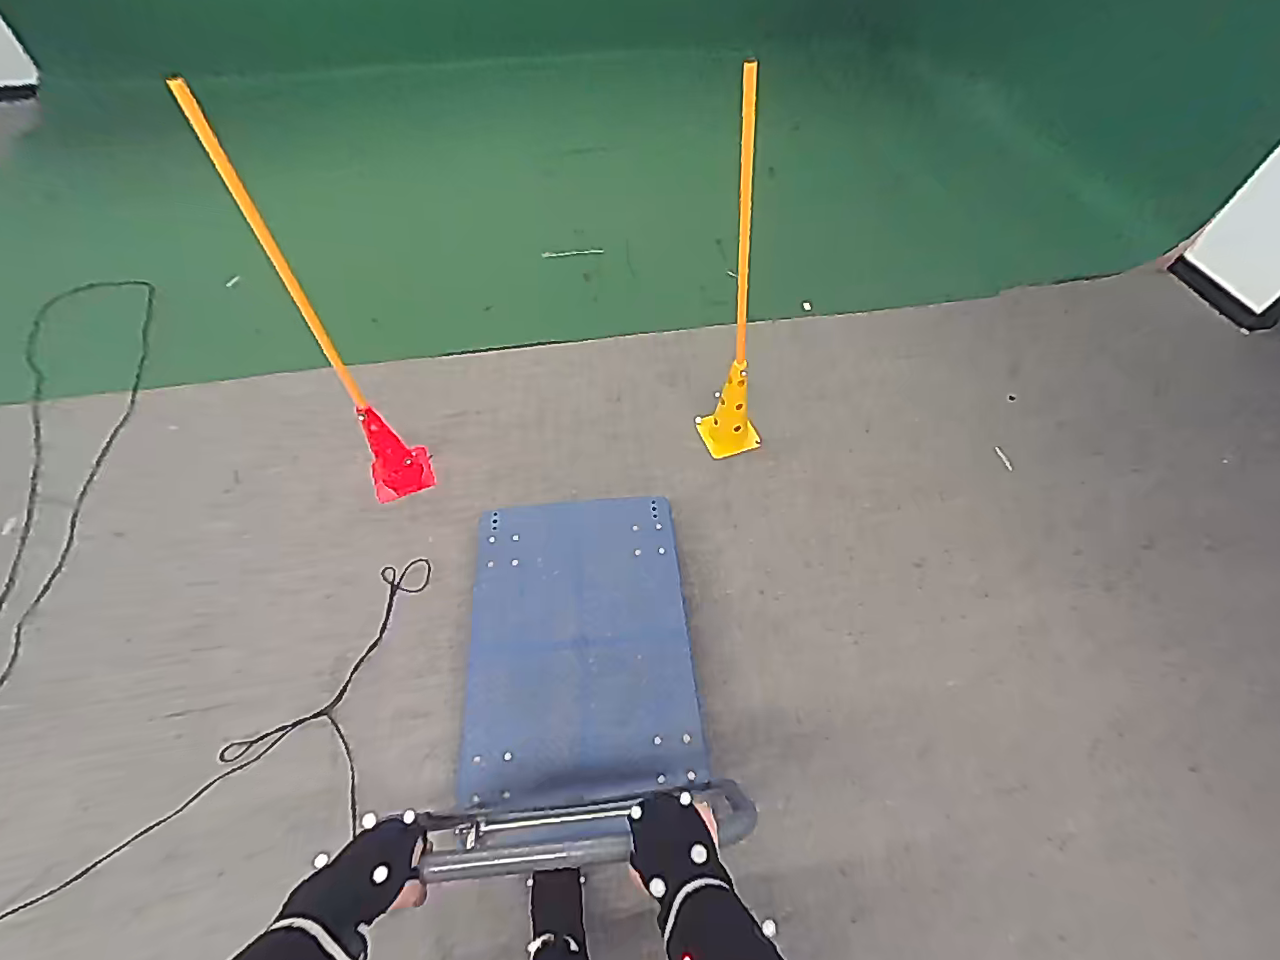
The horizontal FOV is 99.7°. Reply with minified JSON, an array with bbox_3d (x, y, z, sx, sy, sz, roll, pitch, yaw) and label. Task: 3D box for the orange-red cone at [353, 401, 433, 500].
[{"bbox_3d":[-0.847,-0.125,1.771,0.199,0.360,0.198,-21,57,-12],"label":"orange-red cone"}]
